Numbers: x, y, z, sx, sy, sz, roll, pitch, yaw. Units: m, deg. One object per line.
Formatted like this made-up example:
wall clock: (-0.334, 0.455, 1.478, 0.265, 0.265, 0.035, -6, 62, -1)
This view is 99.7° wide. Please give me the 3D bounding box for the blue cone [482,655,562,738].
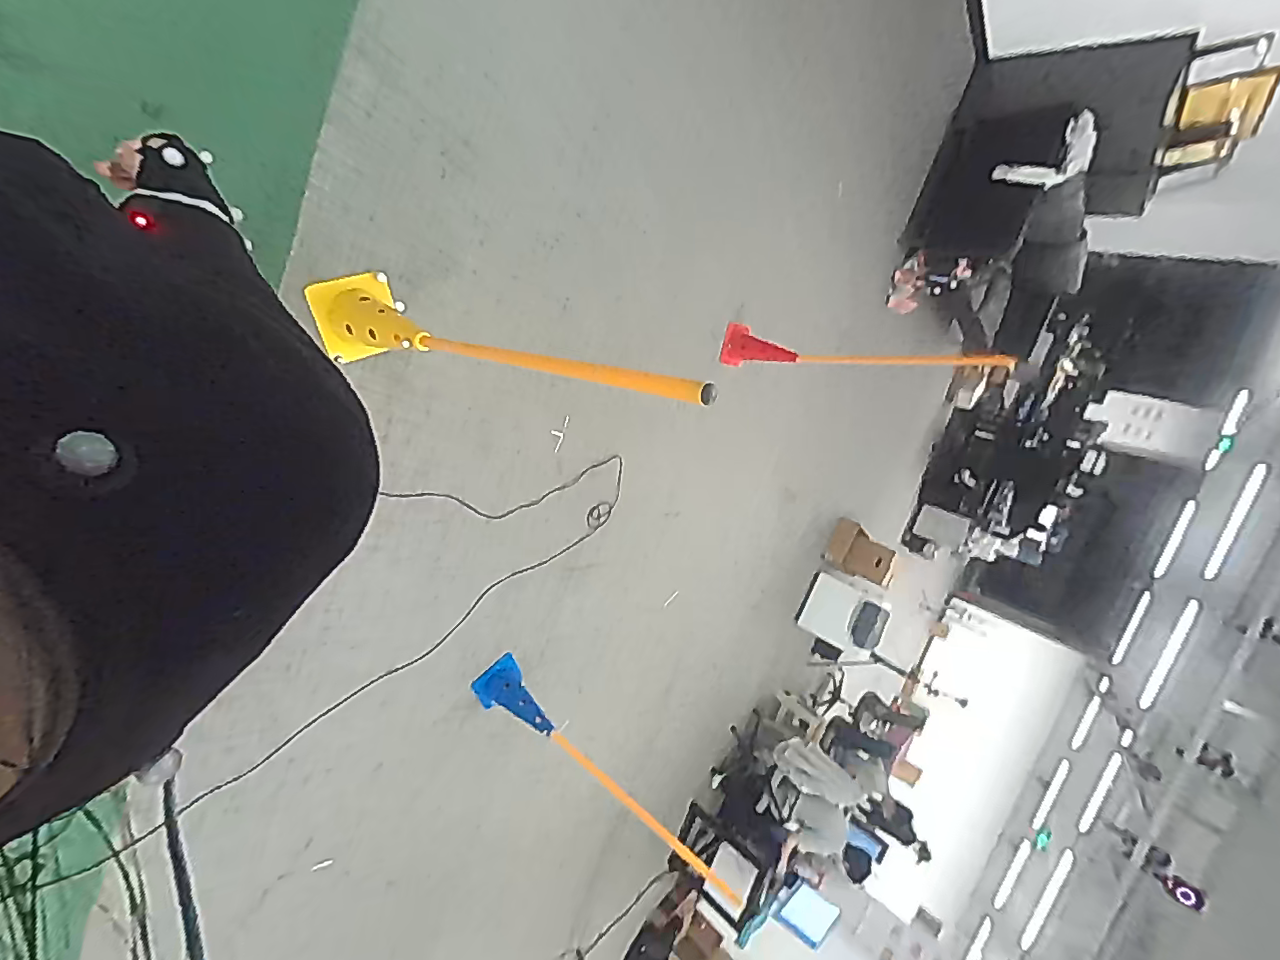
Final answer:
blue cone: (-0.437, 0.889, 2.160, 0.192, 0.380, 0.193, -40, 138, -29)
